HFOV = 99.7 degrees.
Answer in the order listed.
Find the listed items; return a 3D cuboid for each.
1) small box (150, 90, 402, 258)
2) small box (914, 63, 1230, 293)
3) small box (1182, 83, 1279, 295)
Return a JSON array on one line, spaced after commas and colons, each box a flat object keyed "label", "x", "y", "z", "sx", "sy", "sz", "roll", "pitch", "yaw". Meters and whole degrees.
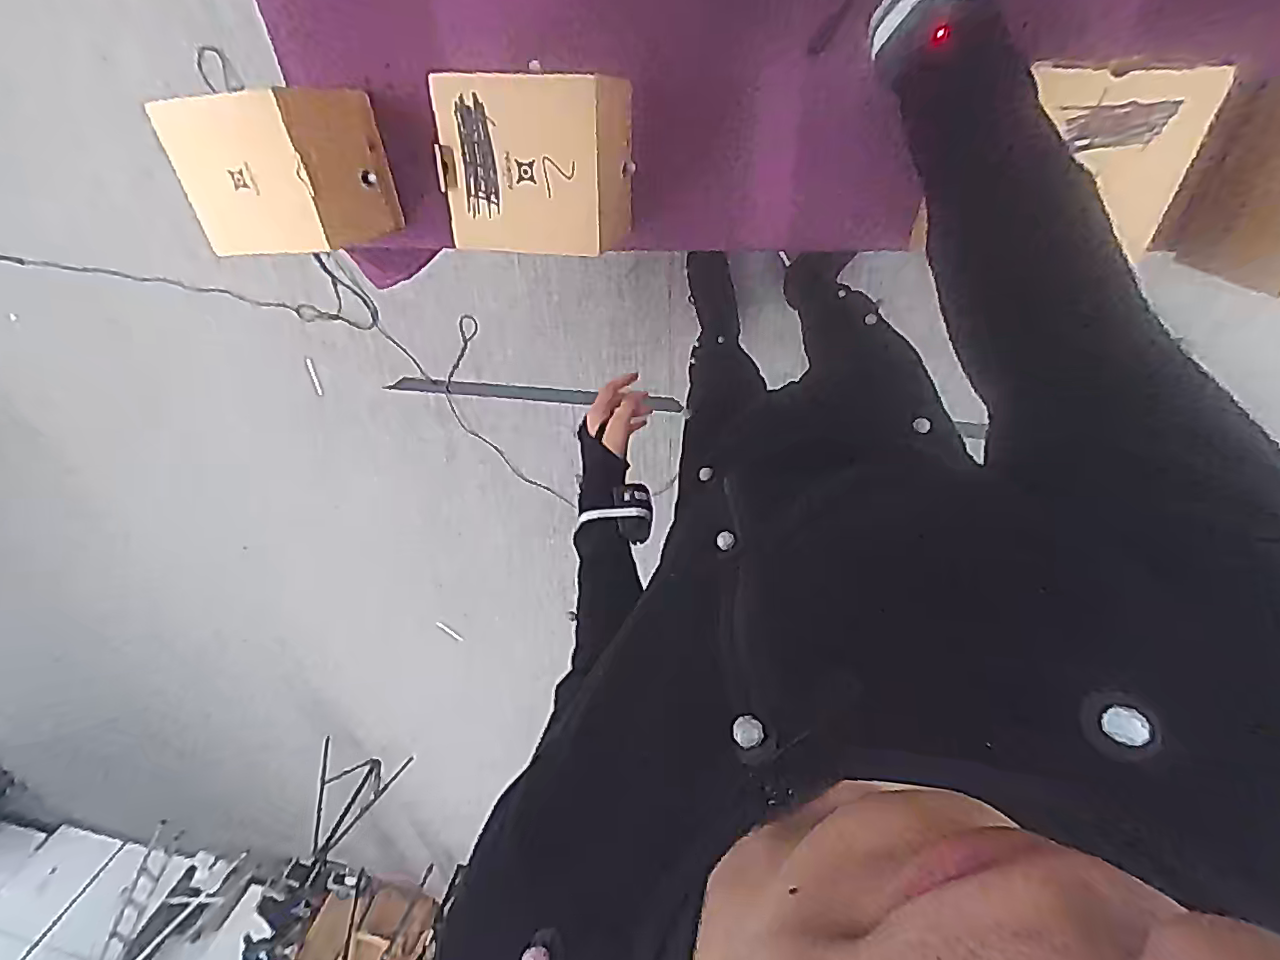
[{"label": "small box", "x": -0.449, "y": -0.392, "z": 0.700, "sx": 0.179, "sy": 0.176, "sz": 0.168, "roll": 2, "pitch": 124, "yaw": 11}, {"label": "small box", "x": 0.398, "y": -0.305, "z": 0.547, "sx": 0.168, "sy": 0.176, "sz": 0.179, "roll": 8, "pitch": 126, "yaw": 9}, {"label": "small box", "x": 0.676, "y": -0.269, "z": 0.499, "sx": 0.168, "sy": 0.176, "sz": 0.179, "roll": 9, "pitch": 125, "yaw": 9}]
